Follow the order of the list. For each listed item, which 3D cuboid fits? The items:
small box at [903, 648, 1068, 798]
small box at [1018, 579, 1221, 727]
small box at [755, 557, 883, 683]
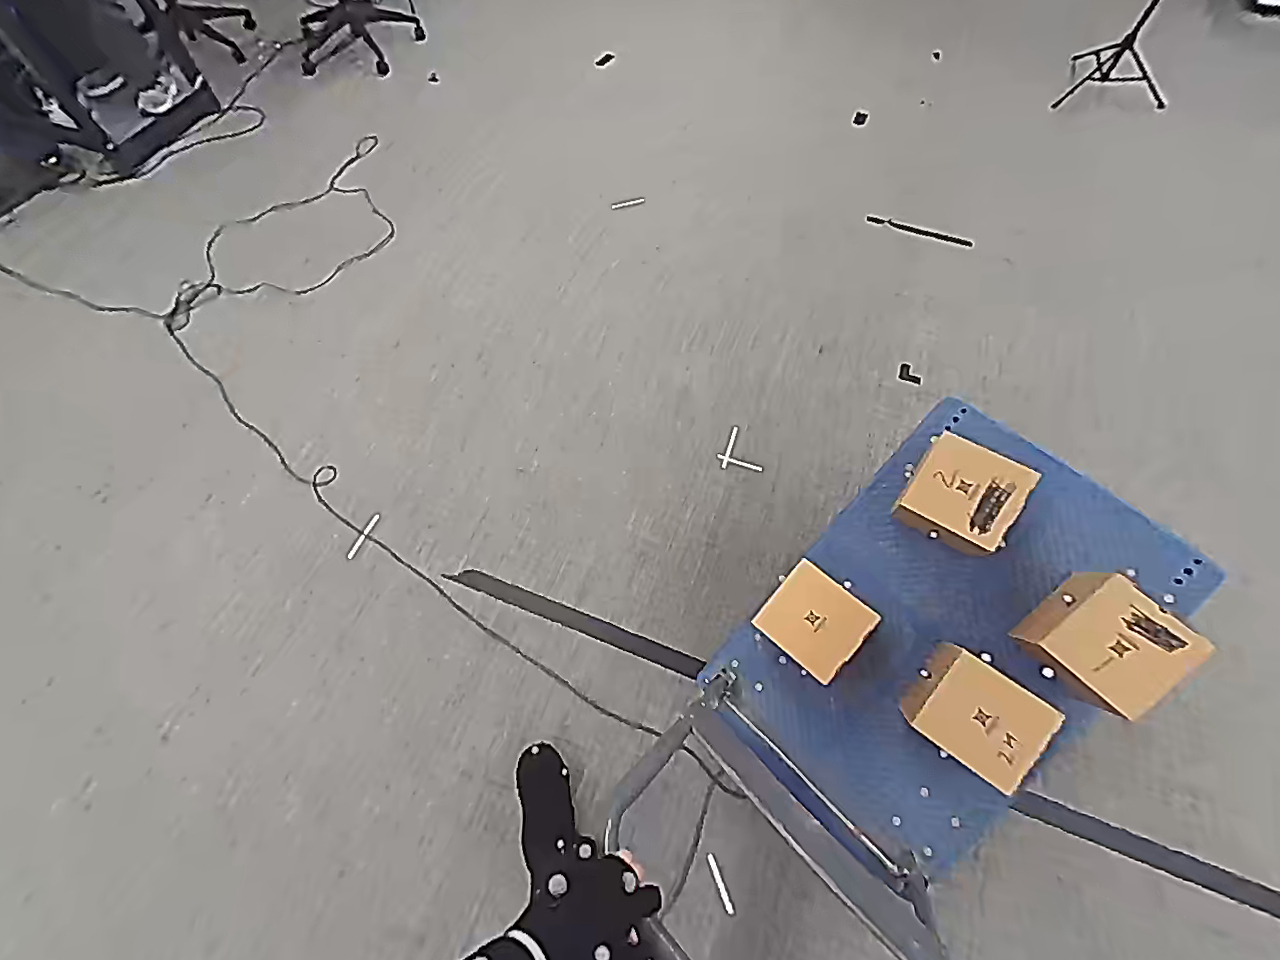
[{"bbox_3d":[0.609,0.424,0.983,0.179,0.176,0.168,36,92,21],"label":"small box"},{"bbox_3d":[0.811,0.289,0.943,0.179,0.176,0.168,-46,69,6],"label":"small box"},{"bbox_3d":[0.356,0.278,1.095,0.179,0.176,0.168,40,93,19],"label":"small box"}]
